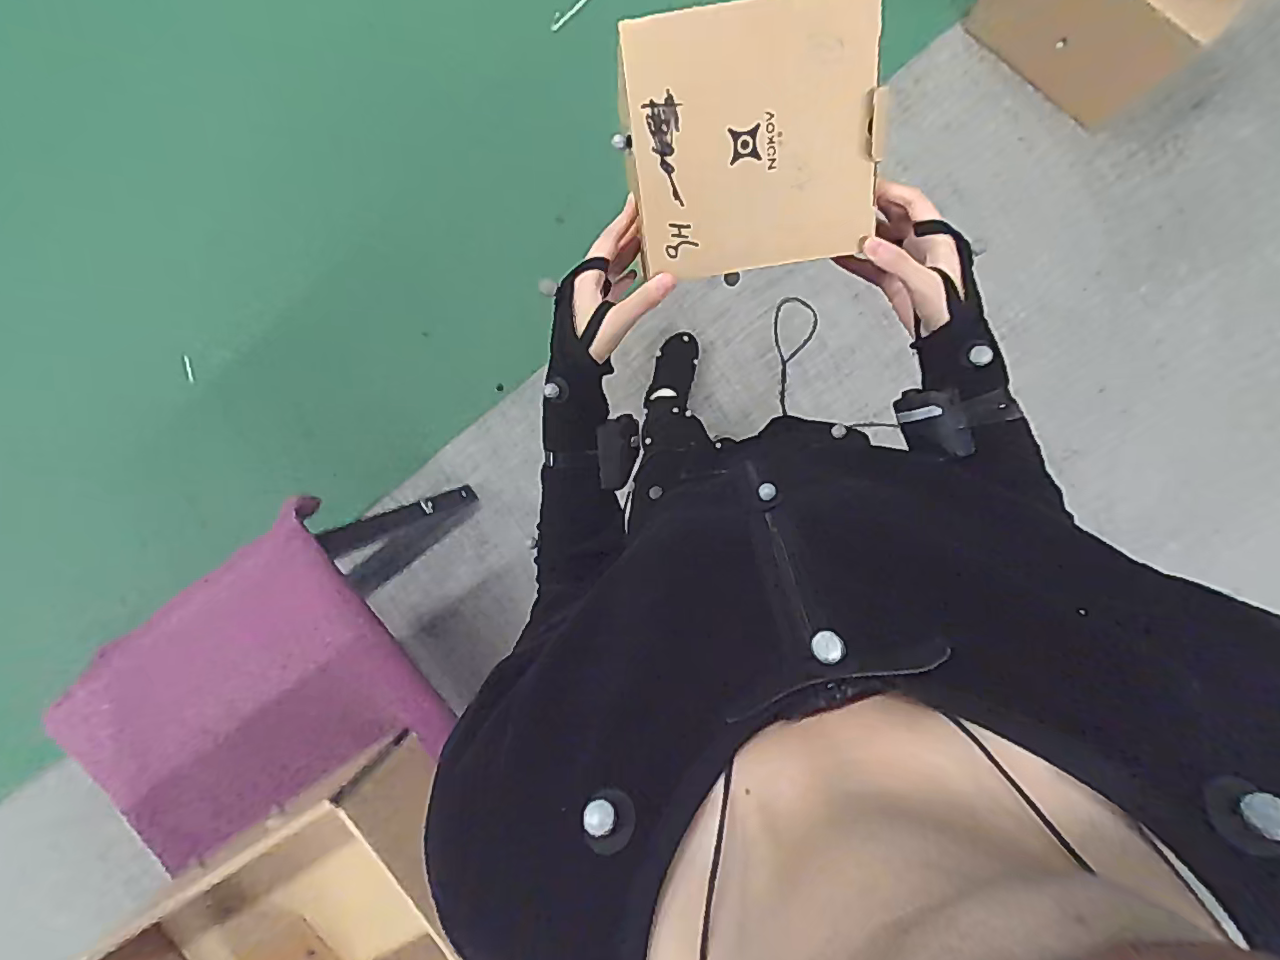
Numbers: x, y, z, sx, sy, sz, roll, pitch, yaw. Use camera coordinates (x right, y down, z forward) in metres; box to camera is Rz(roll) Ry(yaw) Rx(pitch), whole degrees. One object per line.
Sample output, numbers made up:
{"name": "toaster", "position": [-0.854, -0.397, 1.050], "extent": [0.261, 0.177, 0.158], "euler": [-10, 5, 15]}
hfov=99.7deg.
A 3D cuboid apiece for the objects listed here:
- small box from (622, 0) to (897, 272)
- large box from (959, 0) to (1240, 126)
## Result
{"name": "small box", "position": [0.083, -0.271, 0.447], "extent": [0.179, 0.176, 0.168], "euler": [-7, 112, -1]}
{"name": "large box", "position": [0.978, -1.044, 1.107], "extent": [0.408, 0.320, 0.320], "euler": [39, 99, 2]}
